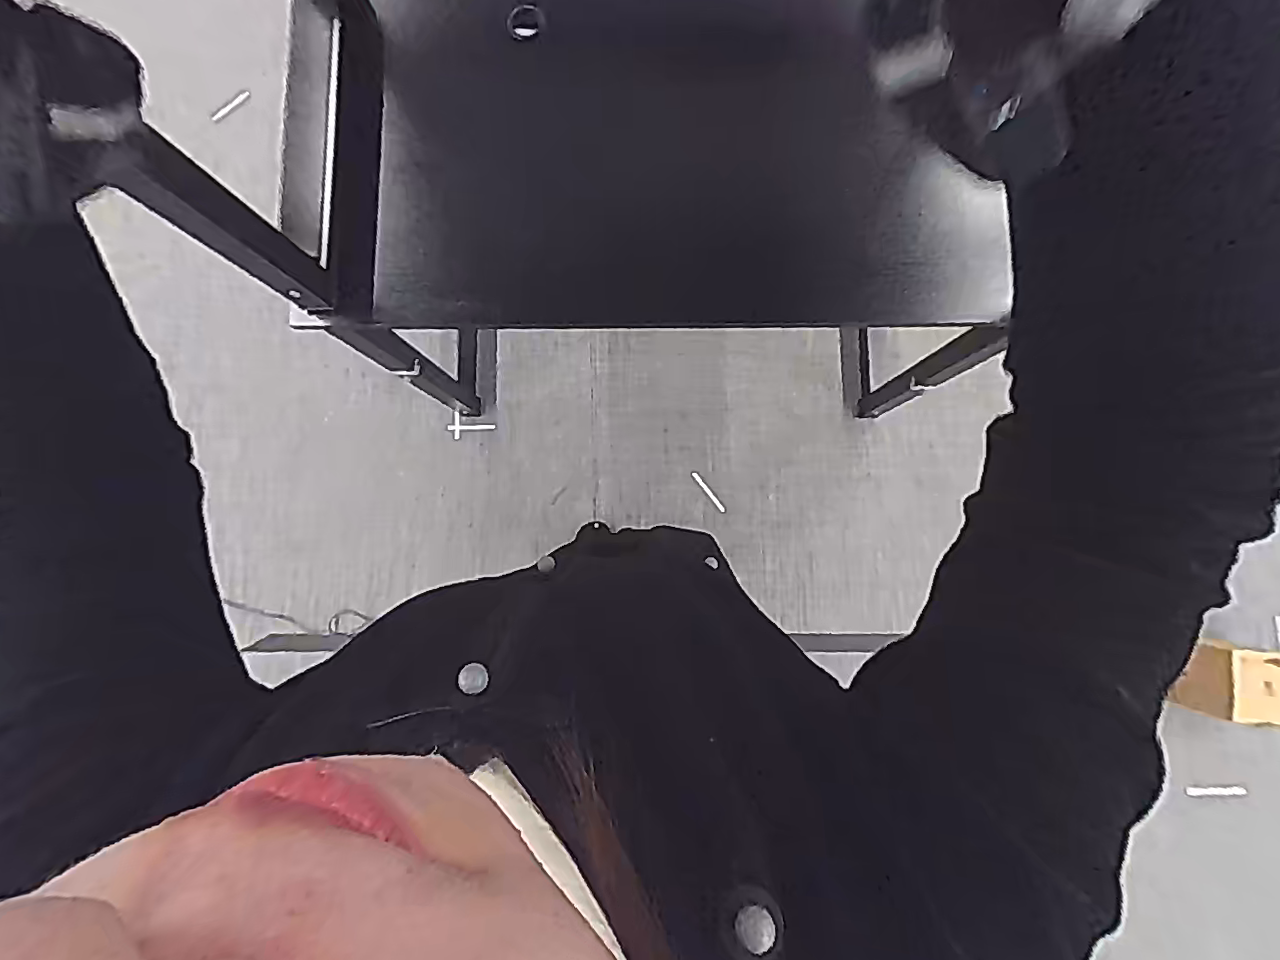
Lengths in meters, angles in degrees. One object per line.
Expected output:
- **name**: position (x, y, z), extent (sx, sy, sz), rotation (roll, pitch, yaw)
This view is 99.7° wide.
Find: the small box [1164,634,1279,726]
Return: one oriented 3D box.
- **small box**: position (1.496, 0.505, 1.379), extent (0.168, 0.176, 0.179), rotation (5, 86, 1)
